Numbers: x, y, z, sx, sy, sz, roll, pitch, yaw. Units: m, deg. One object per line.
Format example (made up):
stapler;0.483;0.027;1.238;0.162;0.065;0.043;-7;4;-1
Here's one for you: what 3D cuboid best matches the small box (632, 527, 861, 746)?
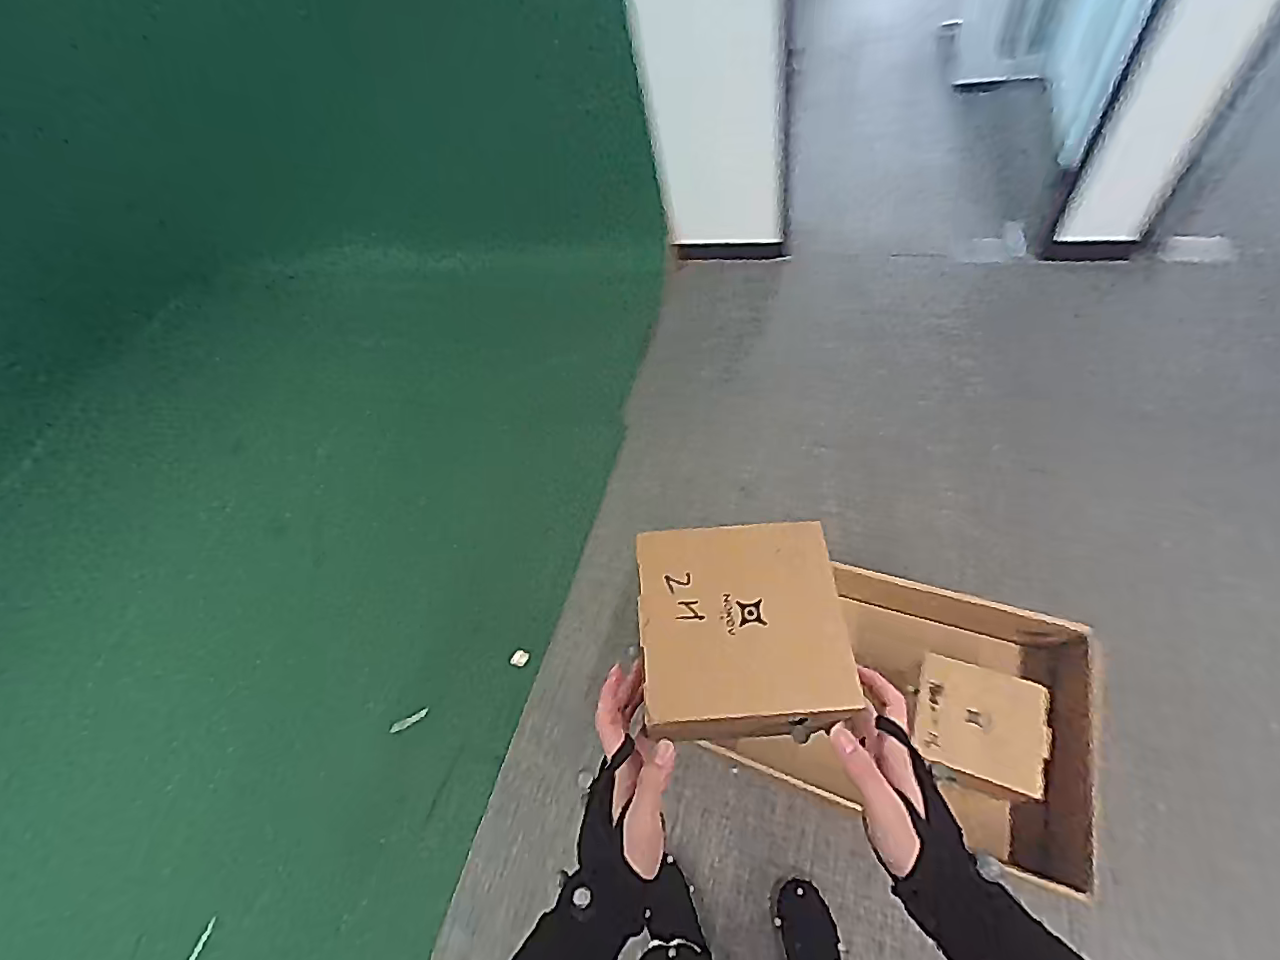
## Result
small box;0.085;0.159;0.529;0.179;0.176;0.168;-5;59;0
